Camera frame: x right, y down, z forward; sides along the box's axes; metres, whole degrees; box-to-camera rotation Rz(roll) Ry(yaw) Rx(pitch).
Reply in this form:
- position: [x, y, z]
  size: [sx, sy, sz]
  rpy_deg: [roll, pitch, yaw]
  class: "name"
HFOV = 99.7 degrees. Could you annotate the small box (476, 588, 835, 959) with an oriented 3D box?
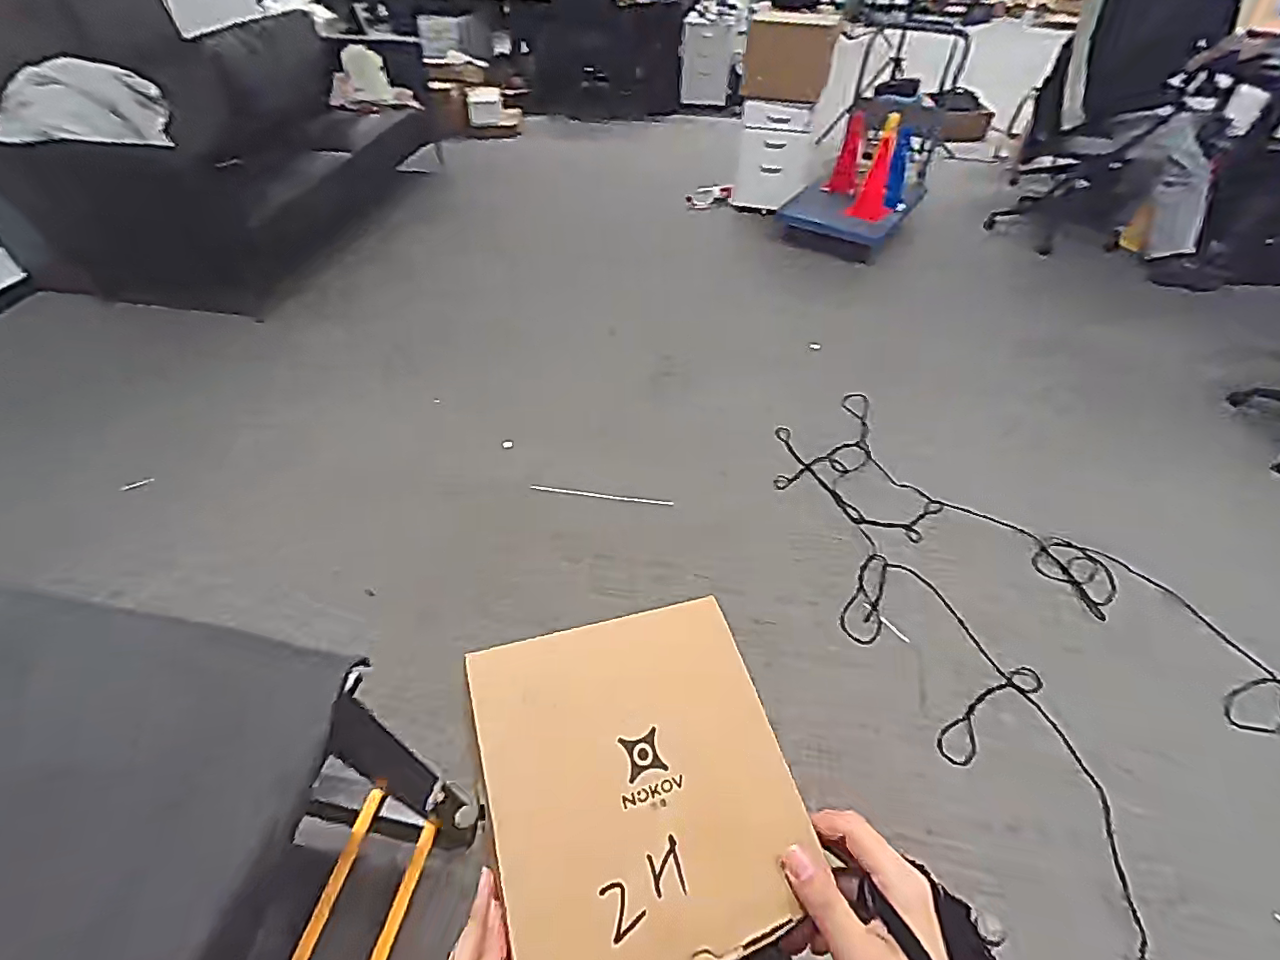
- position: [-0.015, 0.199, 0.361]
  size: [0.168, 0.176, 0.179]
  rpy_deg: [-8, 57, -21]
  class: "small box"
